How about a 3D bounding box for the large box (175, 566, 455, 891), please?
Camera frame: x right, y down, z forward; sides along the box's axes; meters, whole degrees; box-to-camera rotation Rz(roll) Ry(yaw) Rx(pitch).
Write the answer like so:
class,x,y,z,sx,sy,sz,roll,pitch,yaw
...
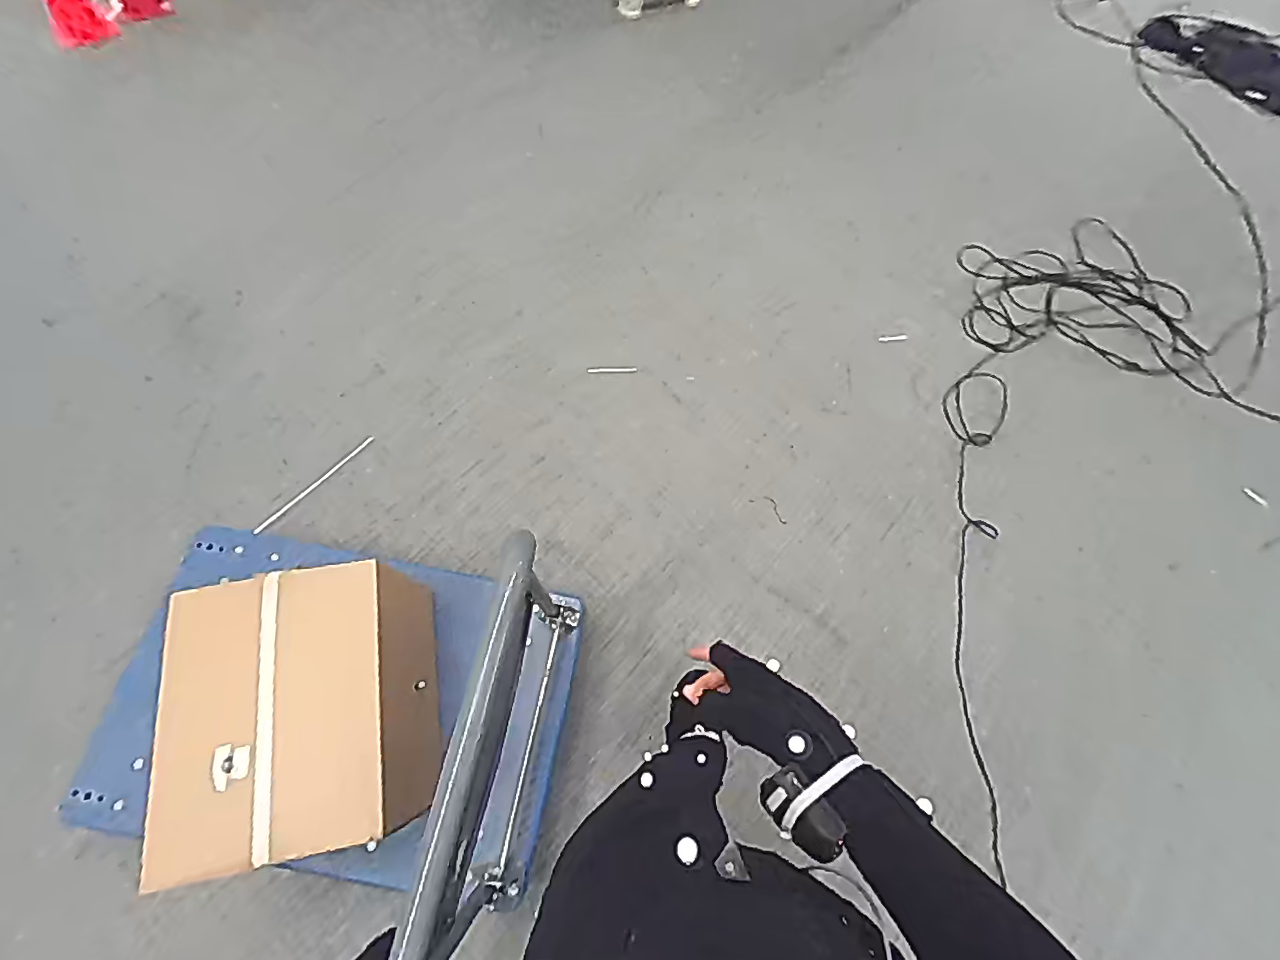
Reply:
class,x,y,z,sx,sy,sz,roll,pitch,yaw
large box,-0.535,0.402,0.955,0.320,0.320,0.408,-10,70,-6
